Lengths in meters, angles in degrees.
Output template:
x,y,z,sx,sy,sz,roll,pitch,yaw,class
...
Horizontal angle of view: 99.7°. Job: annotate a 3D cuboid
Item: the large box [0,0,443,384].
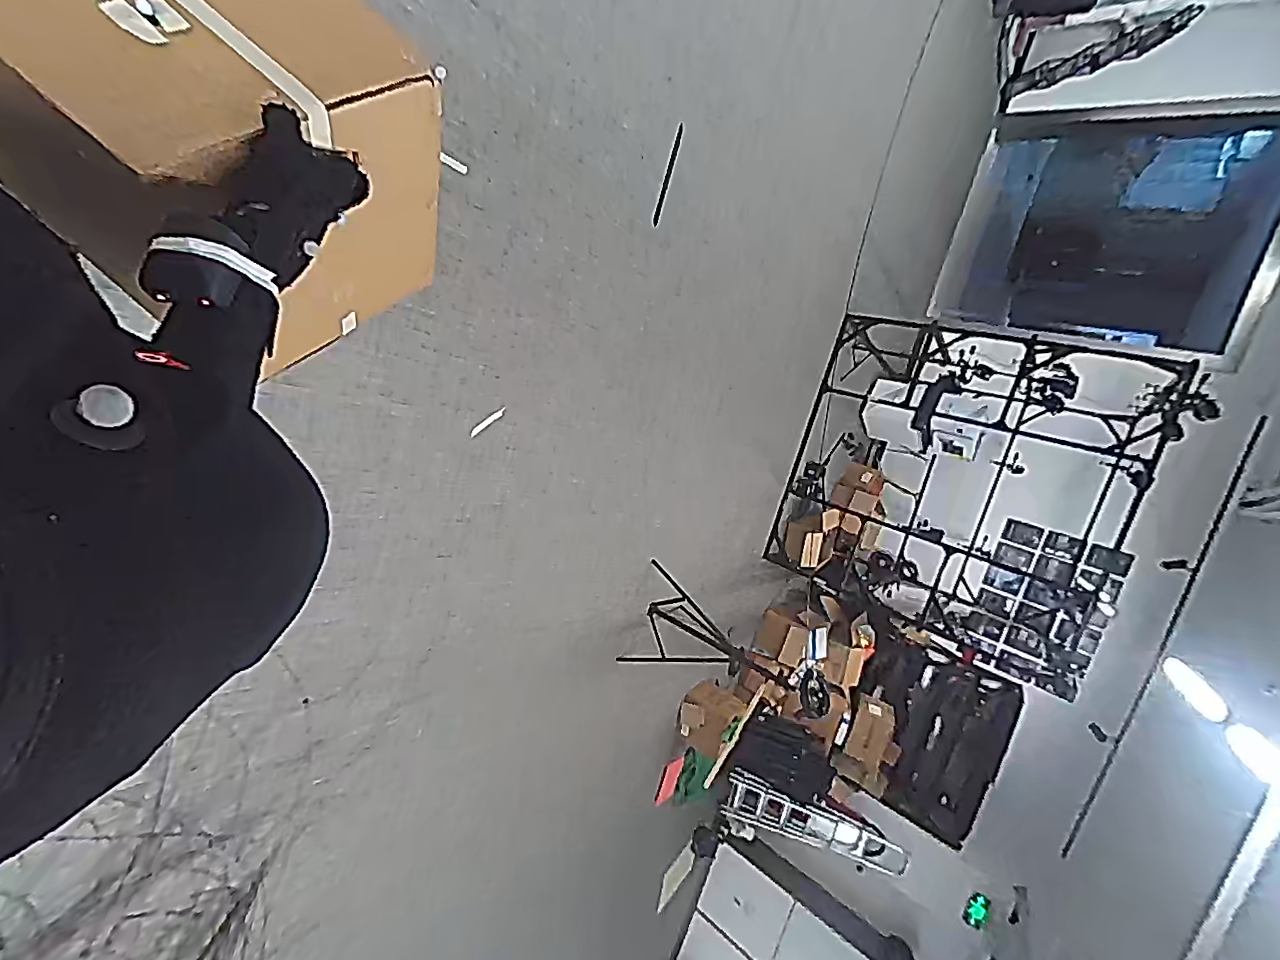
x,y,z,sx,sy,sz,roll,pitch,yaw,class
-0.499,-0.395,0.619,0.320,0.408,0.320,-50,-178,-32,large box
